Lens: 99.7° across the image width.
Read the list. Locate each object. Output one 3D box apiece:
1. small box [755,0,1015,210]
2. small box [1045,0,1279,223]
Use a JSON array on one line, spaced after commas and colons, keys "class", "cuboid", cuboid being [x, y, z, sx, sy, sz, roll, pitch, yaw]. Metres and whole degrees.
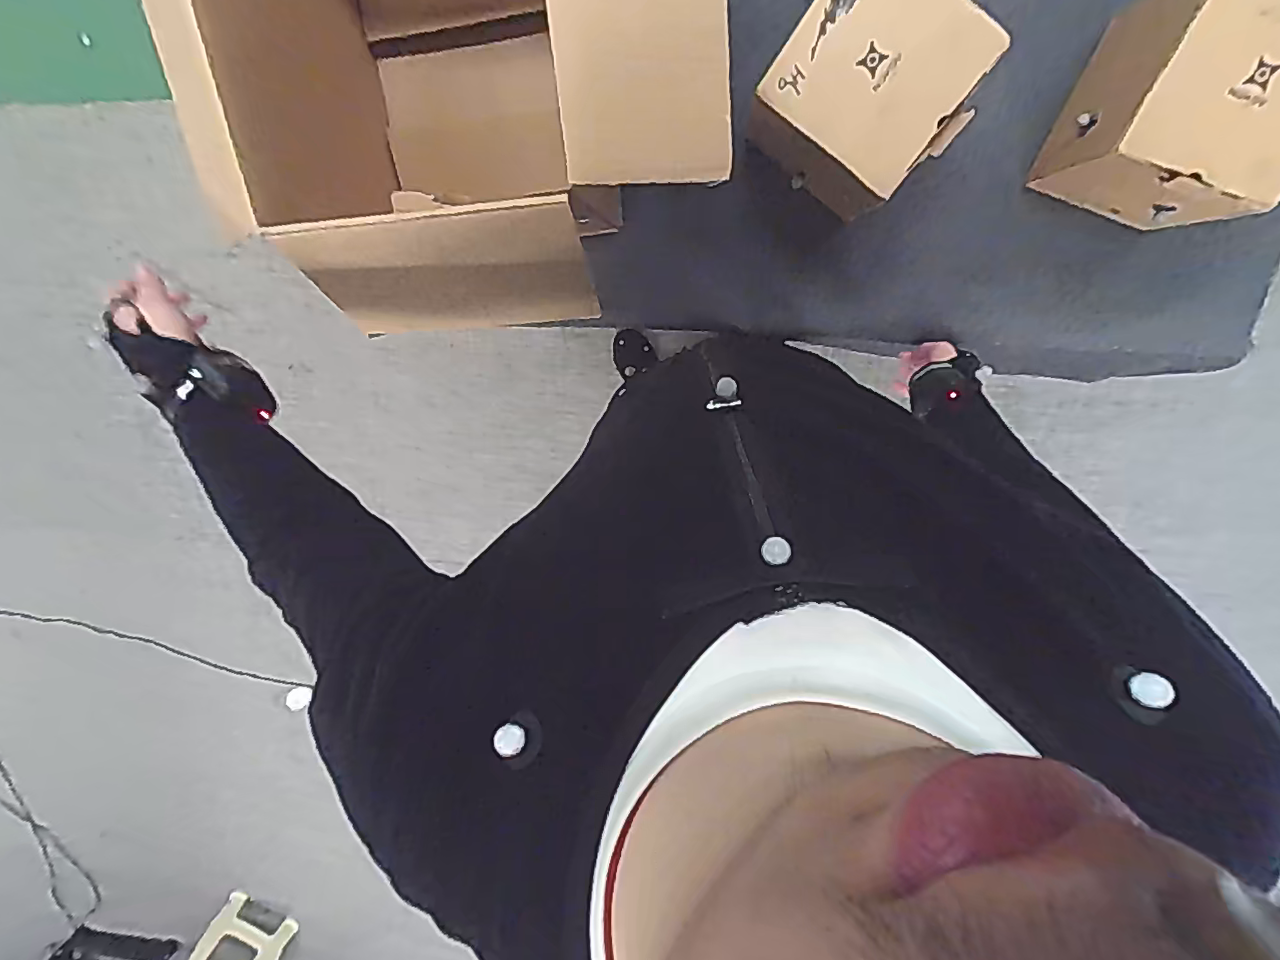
[{"class": "small box", "cuboid": [0.249, -0.427, 0.600, 0.179, 0.176, 0.168, 37, 109, -6]}, {"class": "small box", "cuboid": [0.577, -0.390, 0.564, 0.168, 0.176, 0.179, 21, 109, 0]}]
